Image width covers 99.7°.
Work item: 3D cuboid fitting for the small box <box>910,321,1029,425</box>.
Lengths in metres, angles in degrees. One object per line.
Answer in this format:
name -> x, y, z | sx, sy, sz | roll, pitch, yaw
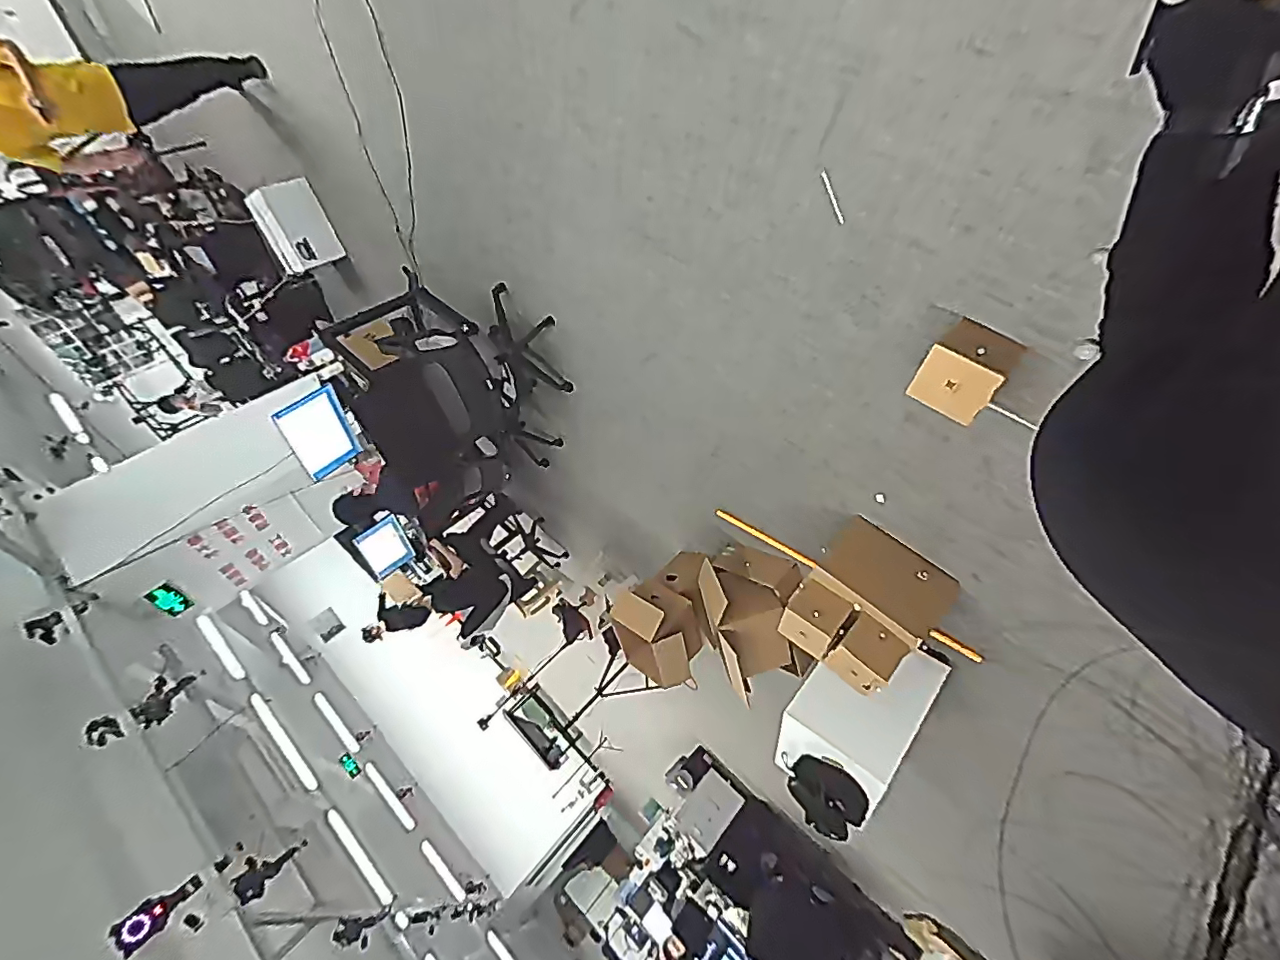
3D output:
small box -> 0.835, -0.279, 1.375 | 0.179, 0.176, 0.168 | 36, 148, 22
